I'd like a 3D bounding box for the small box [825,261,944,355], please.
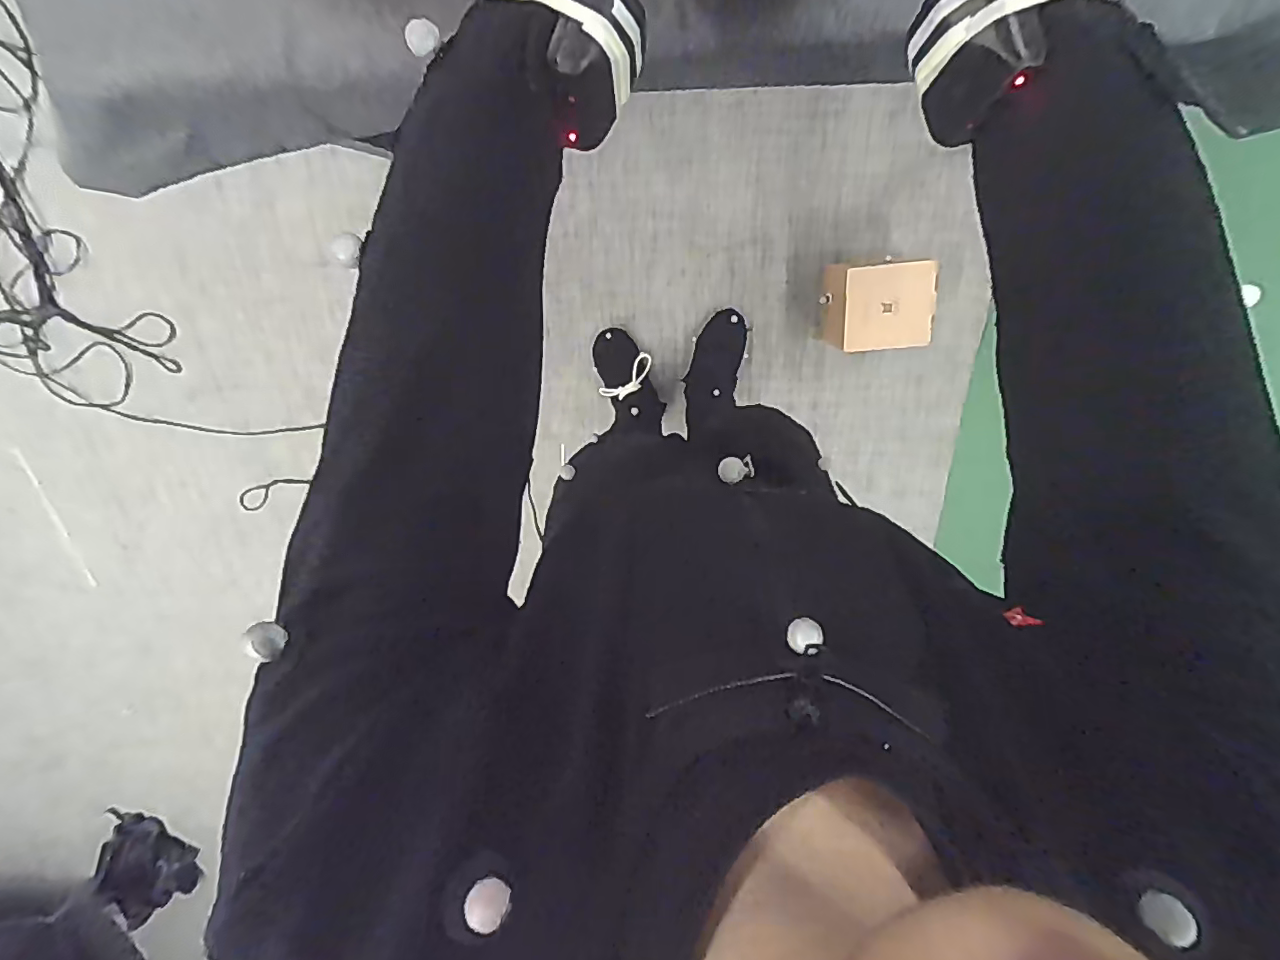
[{"bbox_3d":[0.505,-0.367,1.141,0.179,0.176,0.168,-3,112,6],"label":"small box"}]
